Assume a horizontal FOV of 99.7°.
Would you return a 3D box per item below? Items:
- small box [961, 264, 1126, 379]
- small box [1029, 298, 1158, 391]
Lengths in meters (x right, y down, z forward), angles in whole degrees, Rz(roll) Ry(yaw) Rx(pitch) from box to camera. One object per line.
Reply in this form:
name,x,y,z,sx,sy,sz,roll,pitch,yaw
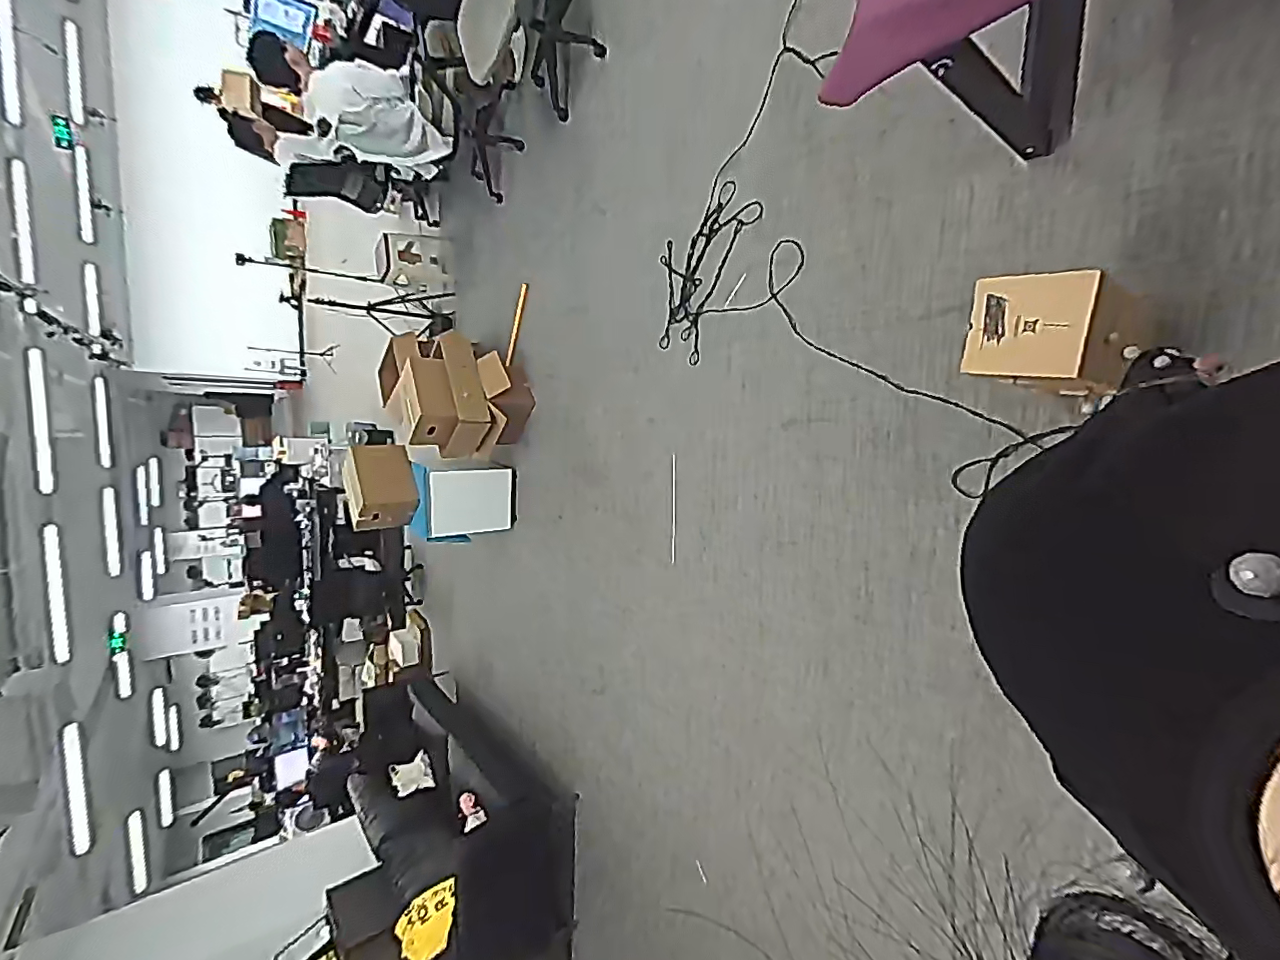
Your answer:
small box,0.702,-0.268,0.943,0.179,0.176,0.168,17,107,49
small box,0.961,-0.281,1.146,0.168,0.176,0.179,15,105,50
